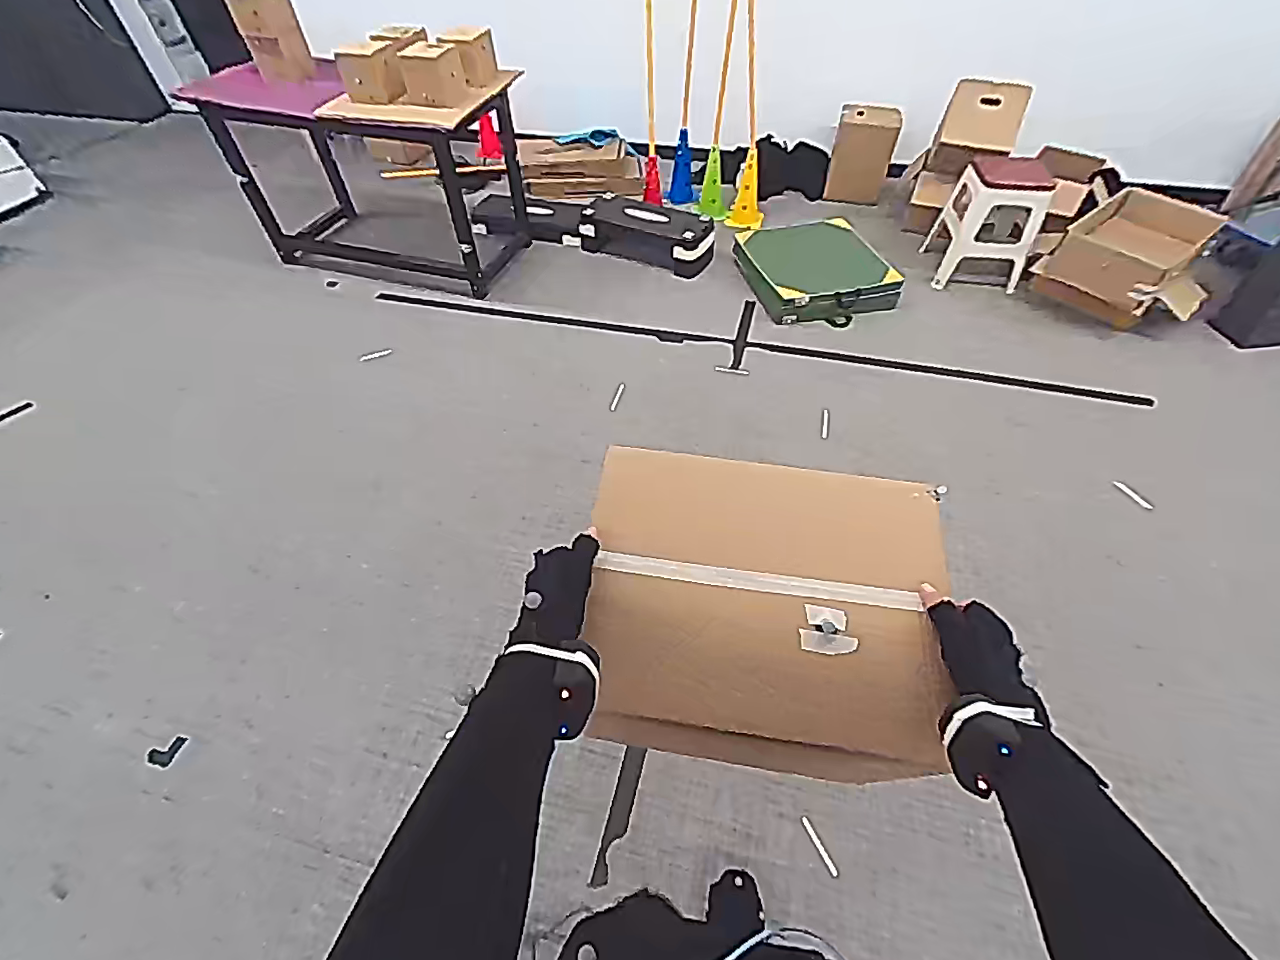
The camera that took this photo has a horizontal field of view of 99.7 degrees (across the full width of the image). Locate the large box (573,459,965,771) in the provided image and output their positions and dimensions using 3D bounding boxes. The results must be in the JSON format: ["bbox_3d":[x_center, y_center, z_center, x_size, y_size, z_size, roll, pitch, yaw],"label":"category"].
[{"bbox_3d":[0.142,0.197,0.746,0.408,0.320,0.320,7,60,4],"label":"large box"}]
